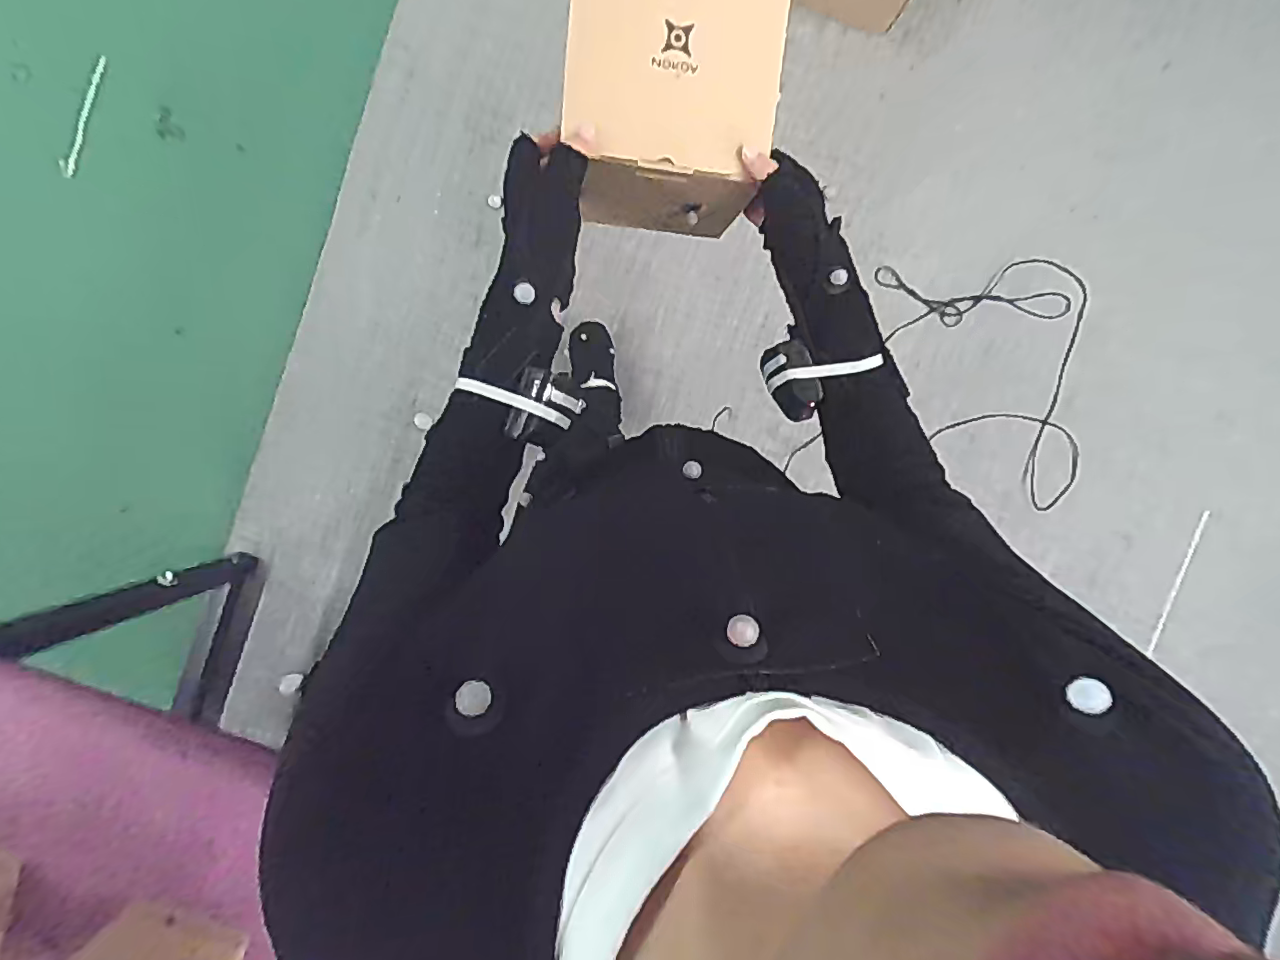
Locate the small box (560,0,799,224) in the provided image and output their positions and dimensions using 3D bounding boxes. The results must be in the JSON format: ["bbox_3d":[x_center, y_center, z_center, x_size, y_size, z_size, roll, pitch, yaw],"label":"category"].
[{"bbox_3d":[0.026,-0.341,0.467,0.168,0.176,0.179,5,99,-6],"label":"small box"}]

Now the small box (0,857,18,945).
[{"bbox_3d":[-0.951,0.591,0.668,0.168,0.176,0.179,18,94,-4],"label":"small box"}]
